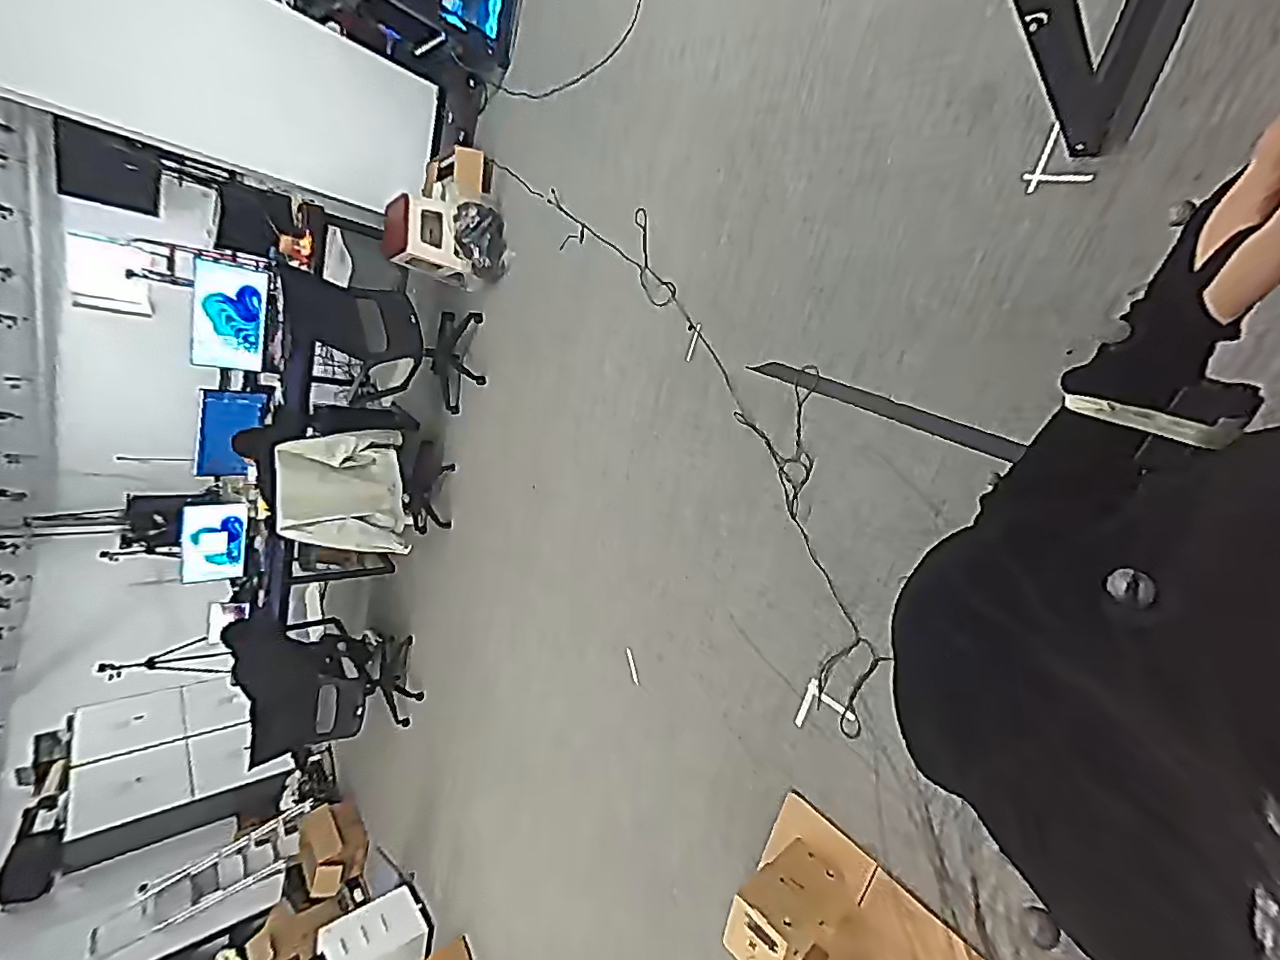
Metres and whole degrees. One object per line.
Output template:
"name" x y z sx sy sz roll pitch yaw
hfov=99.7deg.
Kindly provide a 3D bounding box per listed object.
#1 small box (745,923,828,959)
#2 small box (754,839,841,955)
"small box" 0.435 1.471 1.636 0.179 0.176 0.168 23 108 42
"small box" 0.468 1.216 1.595 0.168 0.176 0.179 24 107 43
